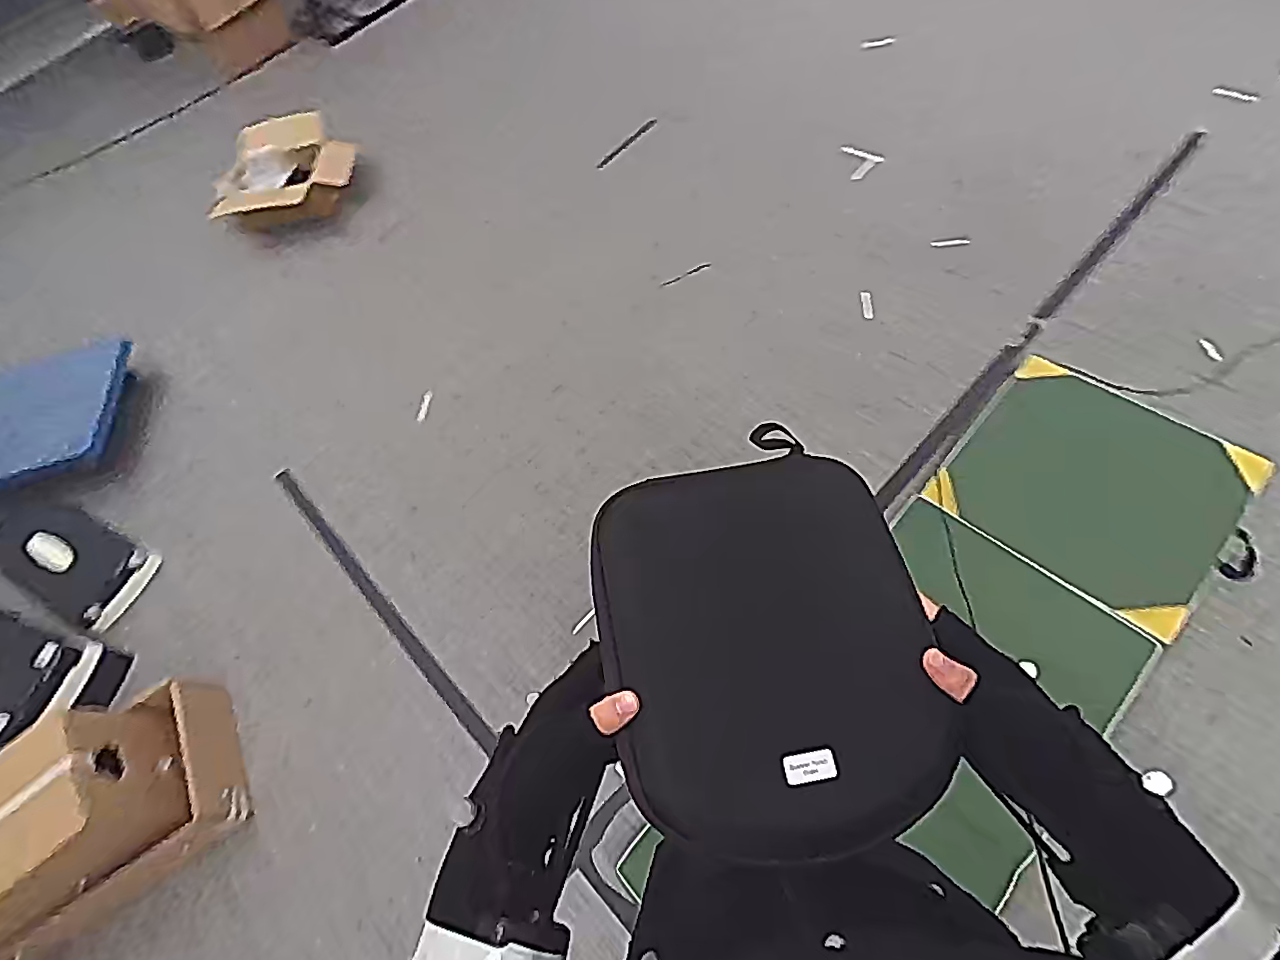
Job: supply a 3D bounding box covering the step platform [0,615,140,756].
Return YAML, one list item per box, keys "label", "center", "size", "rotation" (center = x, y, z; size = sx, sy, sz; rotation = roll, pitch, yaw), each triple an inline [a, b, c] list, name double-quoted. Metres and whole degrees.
- label: "step platform"
  center: [-1.911, 0.601, 1.642]
  size: [0.684, 0.204, 0.286]
  rotation: [9, 65, 14]
